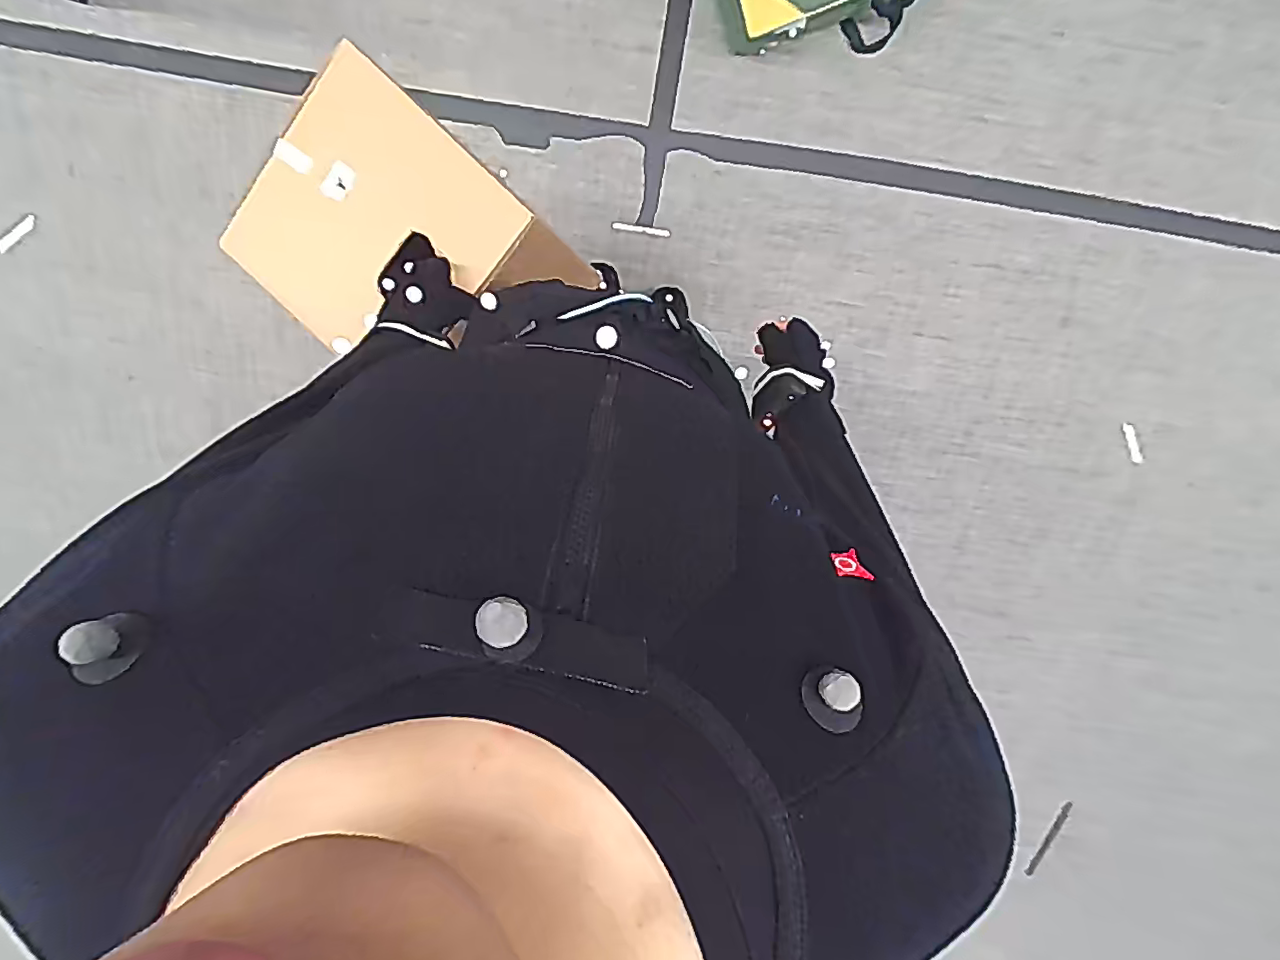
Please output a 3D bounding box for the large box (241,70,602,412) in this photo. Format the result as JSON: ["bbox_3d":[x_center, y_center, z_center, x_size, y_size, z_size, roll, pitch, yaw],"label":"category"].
[{"bbox_3d":[-0.311,-0.340,0.885,0.320,0.408,0.320,43,103,-2],"label":"large box"}]
